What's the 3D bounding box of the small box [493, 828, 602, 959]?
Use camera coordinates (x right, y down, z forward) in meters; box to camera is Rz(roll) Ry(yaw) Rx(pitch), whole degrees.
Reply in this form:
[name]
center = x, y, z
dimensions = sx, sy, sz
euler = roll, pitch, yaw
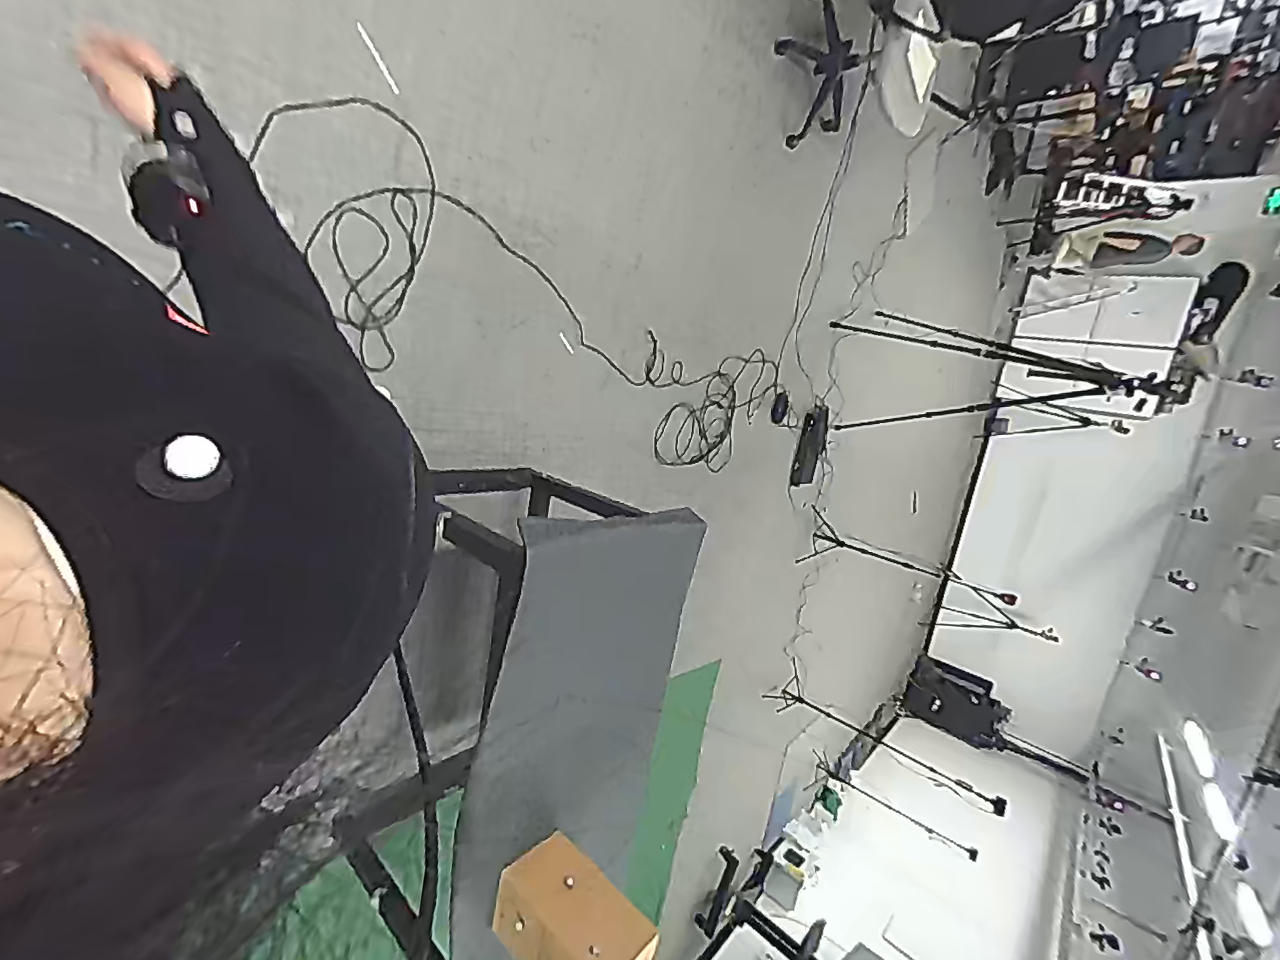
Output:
[small box]
center = -0.215, 0.957, 1.240
dimensions = 0.179, 0.176, 0.168
euler = -3, 107, -51
